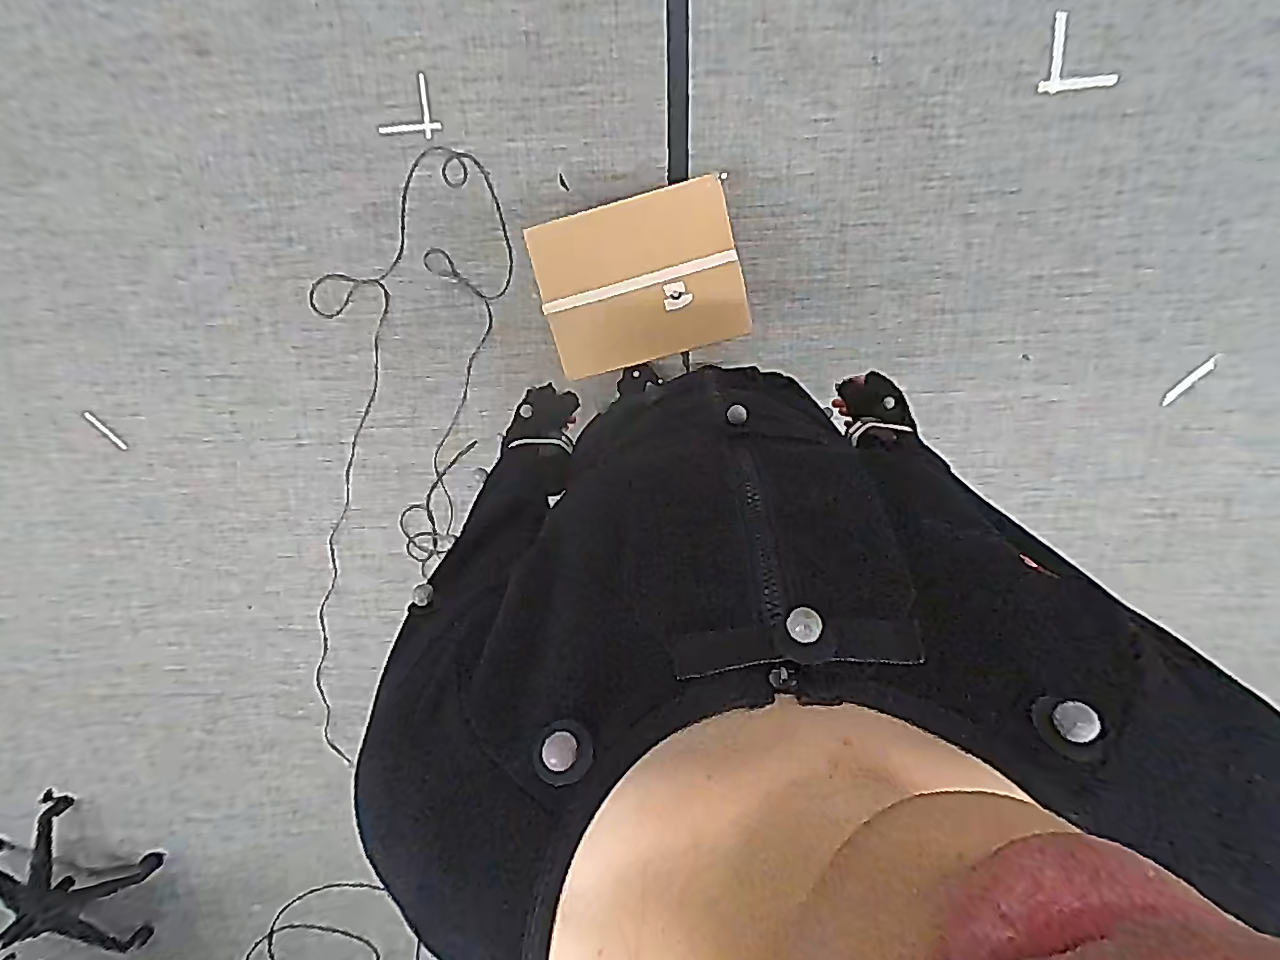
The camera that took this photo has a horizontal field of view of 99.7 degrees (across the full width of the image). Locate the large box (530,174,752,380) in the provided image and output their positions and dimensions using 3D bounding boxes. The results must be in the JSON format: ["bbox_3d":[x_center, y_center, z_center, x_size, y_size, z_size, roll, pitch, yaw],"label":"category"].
[{"bbox_3d":[0.008,-0.437,1.249,0.408,0.320,0.320,-14,102,5],"label":"large box"}]
